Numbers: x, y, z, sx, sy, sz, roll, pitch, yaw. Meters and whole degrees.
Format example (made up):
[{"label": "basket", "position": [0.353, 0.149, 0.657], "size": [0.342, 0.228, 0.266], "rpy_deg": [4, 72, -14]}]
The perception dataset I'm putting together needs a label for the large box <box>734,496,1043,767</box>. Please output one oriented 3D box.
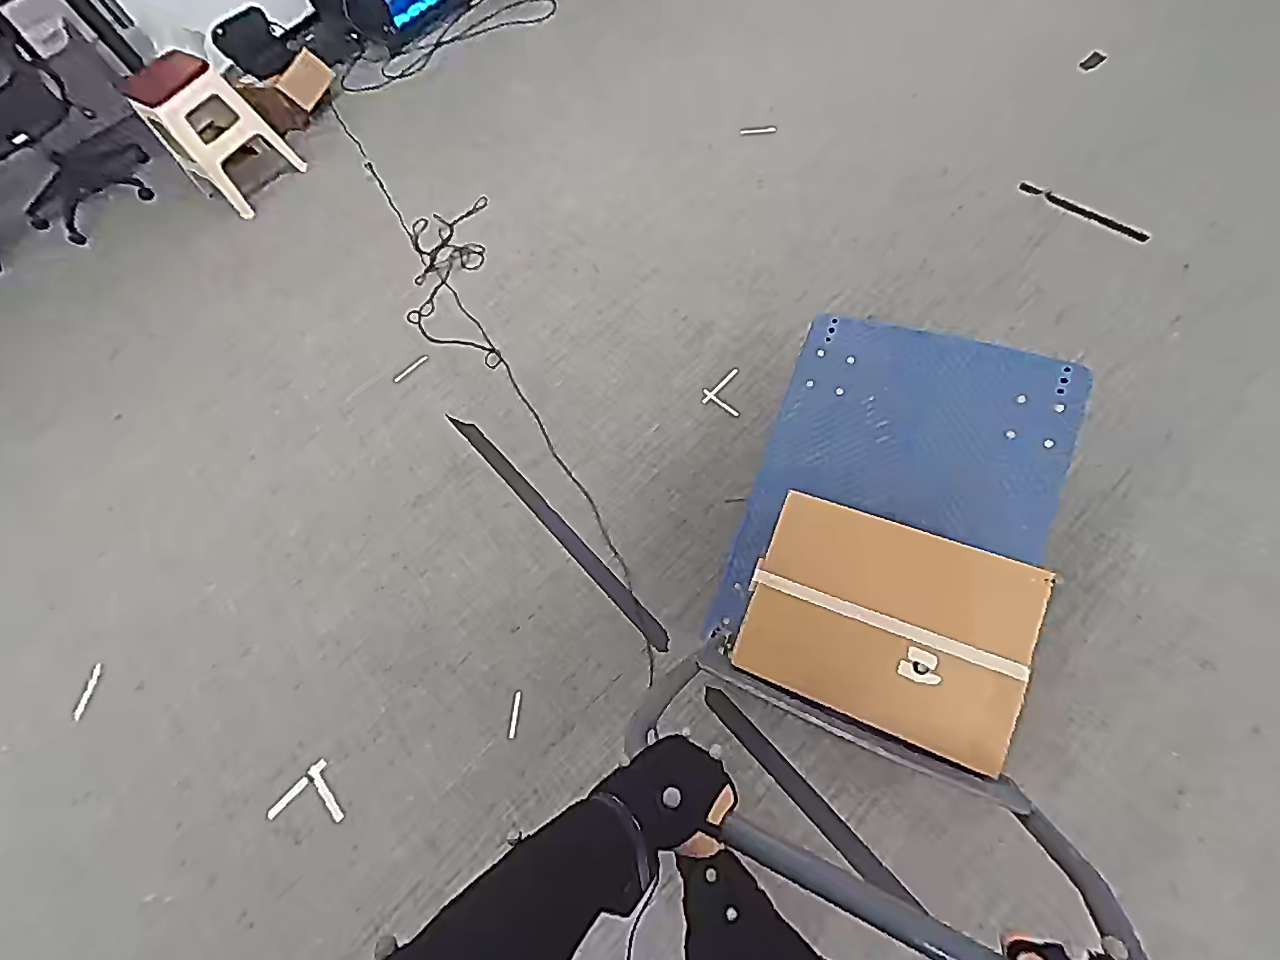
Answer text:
[{"label": "large box", "position": [0.422, 0.256, 1.007], "size": [0.408, 0.320, 0.320], "rpy_deg": [19, 84, 18]}]
